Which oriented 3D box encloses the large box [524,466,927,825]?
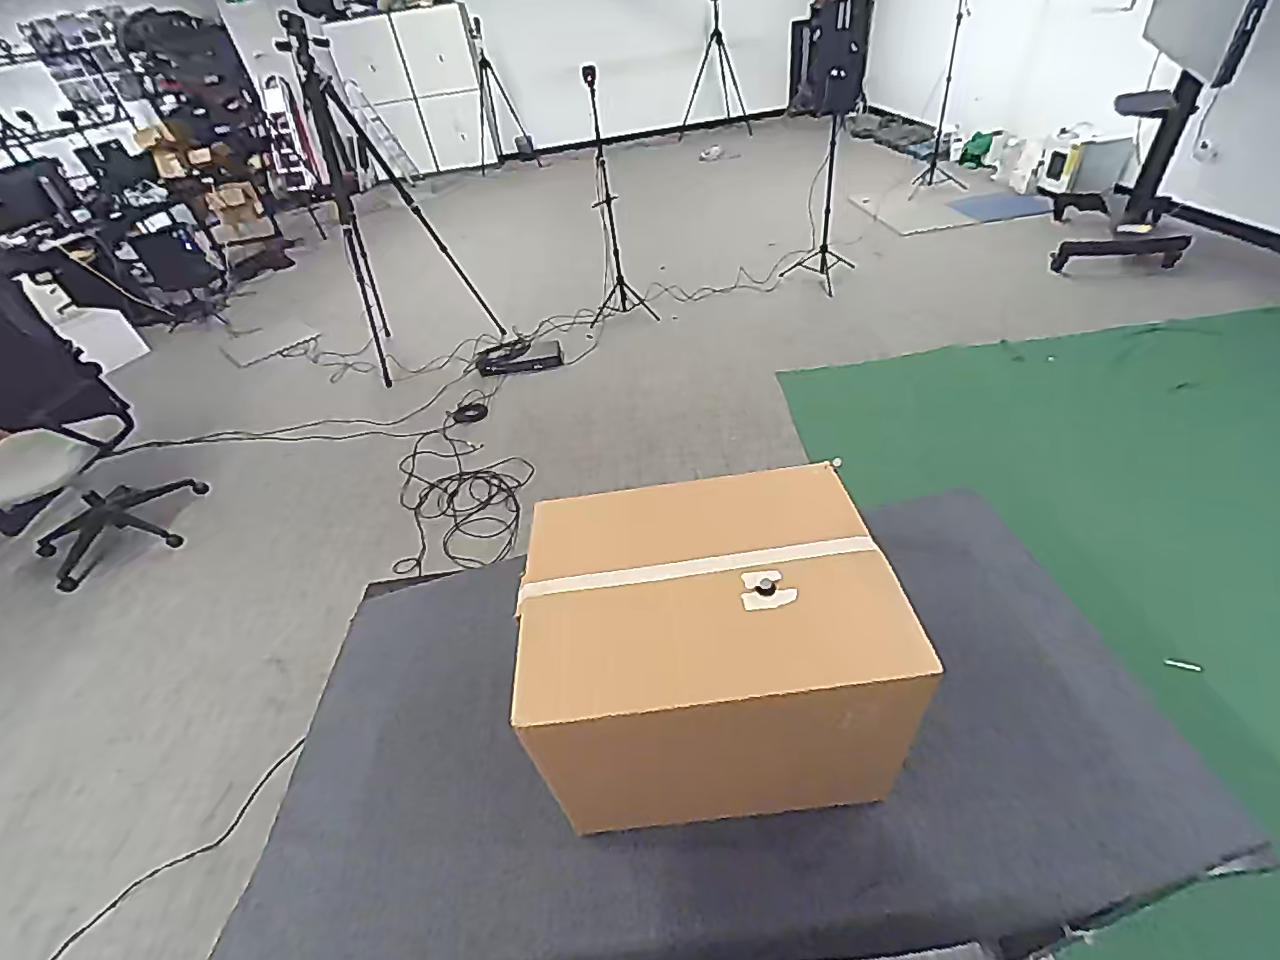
[{"bbox_3d":[0.085,0.219,0.726,0.408,0.320,0.320,-8,41,1],"label":"large box"}]
